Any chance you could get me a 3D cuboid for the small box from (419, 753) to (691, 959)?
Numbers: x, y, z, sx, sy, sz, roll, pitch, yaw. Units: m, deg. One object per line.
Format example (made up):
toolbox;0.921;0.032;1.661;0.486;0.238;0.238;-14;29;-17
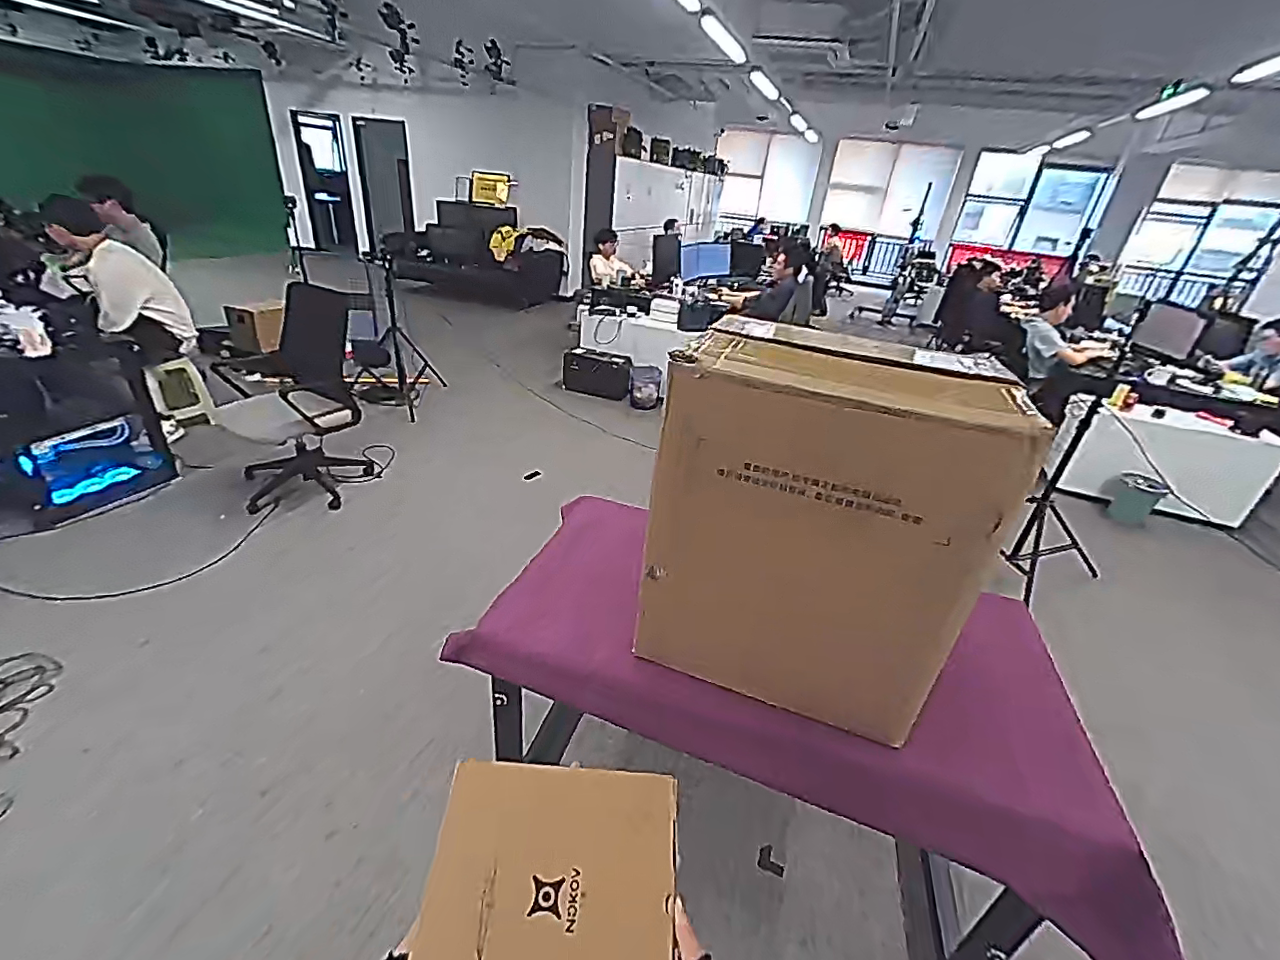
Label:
small box;-0.060;0.335;0.430;0.179;0.176;0.168;5;47;-2
